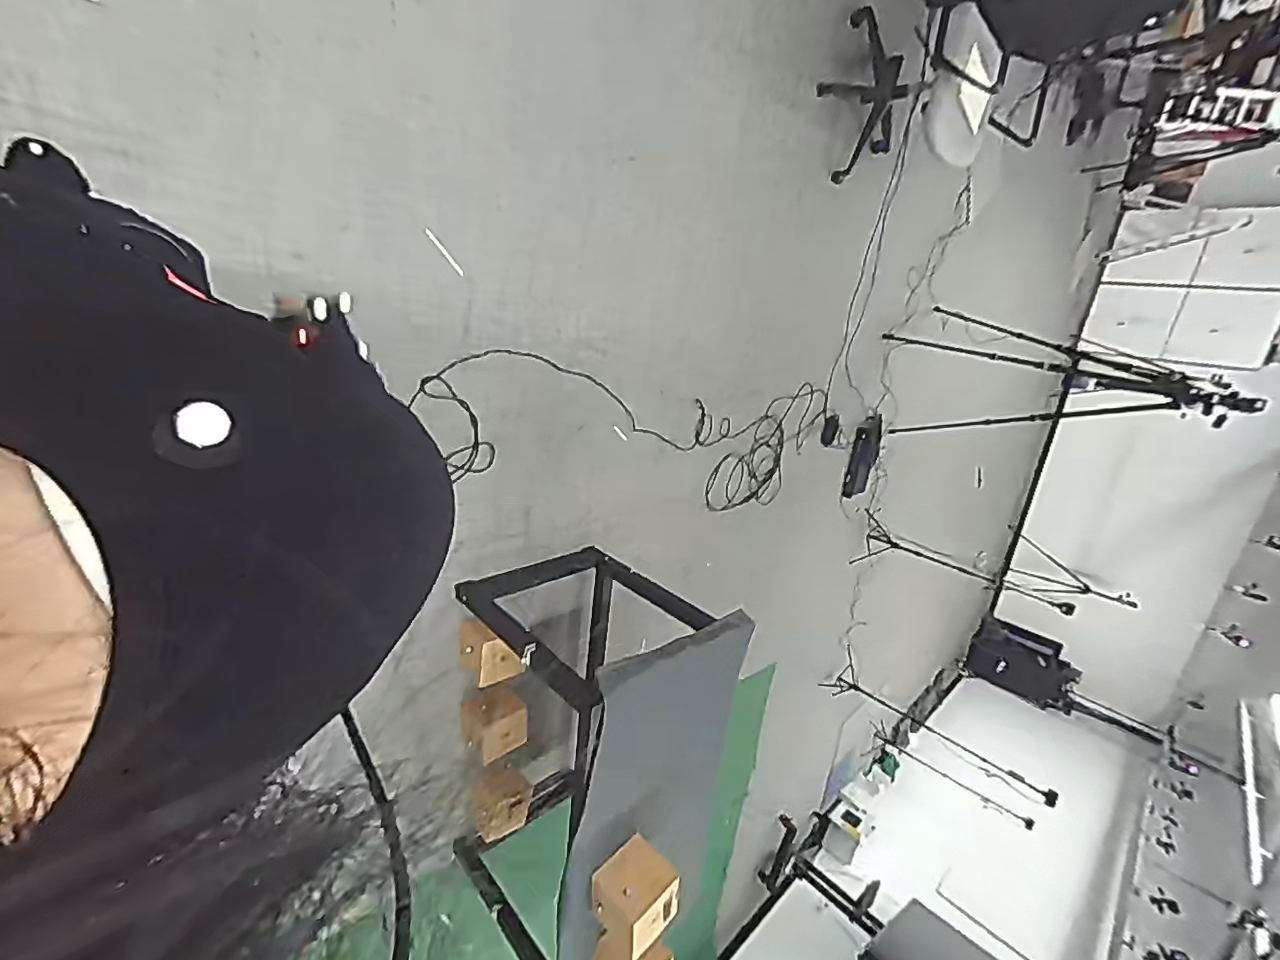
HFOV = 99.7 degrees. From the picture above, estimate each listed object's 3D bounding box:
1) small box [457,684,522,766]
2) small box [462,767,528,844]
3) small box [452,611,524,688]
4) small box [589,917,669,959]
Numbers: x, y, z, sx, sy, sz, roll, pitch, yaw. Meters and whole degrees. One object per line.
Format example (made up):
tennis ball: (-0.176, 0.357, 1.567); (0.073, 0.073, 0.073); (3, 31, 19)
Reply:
small box: (-0.542, 0.870, 1.935); (0.179, 0.176, 0.168); (-14, 117, -43)
small box: (-0.558, 1.233, 2.071); (0.168, 0.176, 0.179); (7, 102, -47)
small box: (-0.519, 0.568, 1.835); (0.179, 0.176, 0.168); (-5, 110, -45)
small box: (-0.051, 1.453, 1.592); (0.179, 0.176, 0.168); (19, 93, -51)
